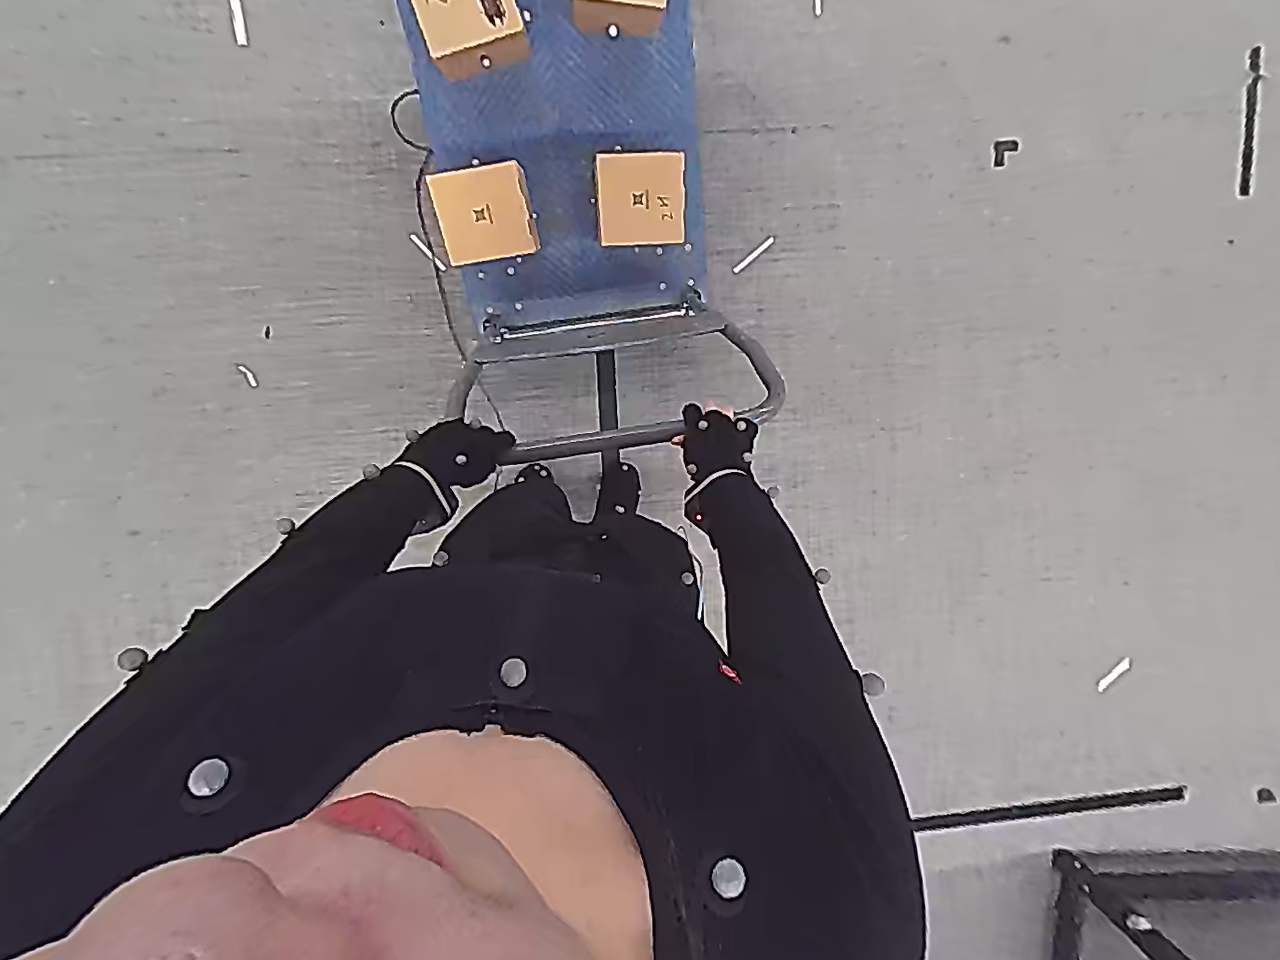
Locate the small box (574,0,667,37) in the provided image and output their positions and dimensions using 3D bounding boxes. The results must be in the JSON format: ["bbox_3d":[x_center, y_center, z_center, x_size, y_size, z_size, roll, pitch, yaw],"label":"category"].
[{"bbox_3d":[-0.035,-0.953,0.988,0.168,0.176,0.179,1,115,-7],"label":"small box"}]

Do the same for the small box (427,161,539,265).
[{"bbox_3d":[-0.317,-0.553,1.134,0.179,0.176,0.168,-12,115,-3],"label":"small box"}]

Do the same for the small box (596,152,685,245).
[{"bbox_3d":[-0.003,-0.593,1.152,0.179,0.176,0.168,-4,115,-5],"label":"small box"}]
